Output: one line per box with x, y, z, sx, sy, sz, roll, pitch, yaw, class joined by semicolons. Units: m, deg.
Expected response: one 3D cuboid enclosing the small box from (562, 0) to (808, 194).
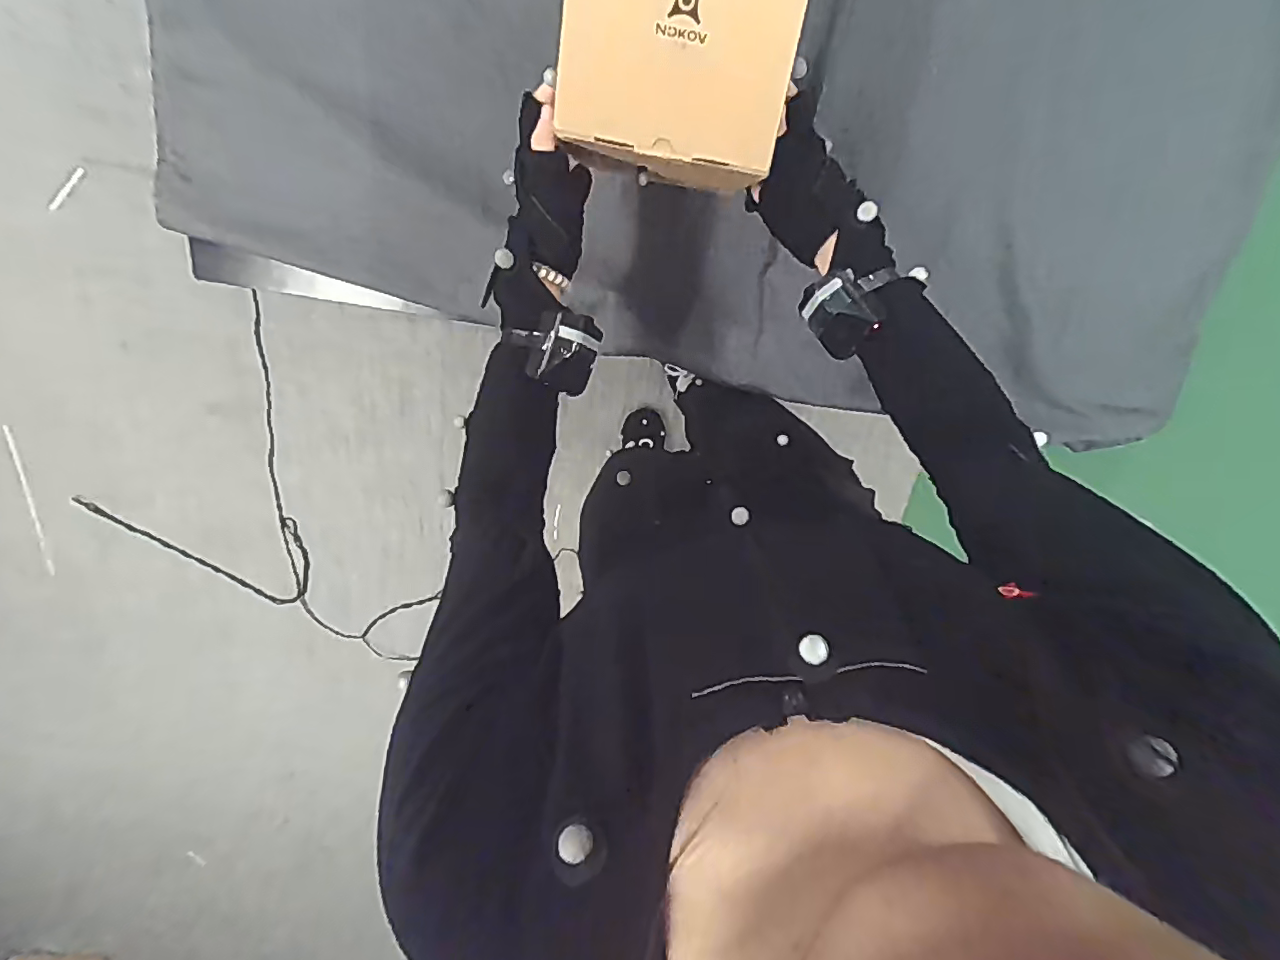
0.032;-0.357;0.459;0.168;0.176;0.179;8;115;-4;small box
